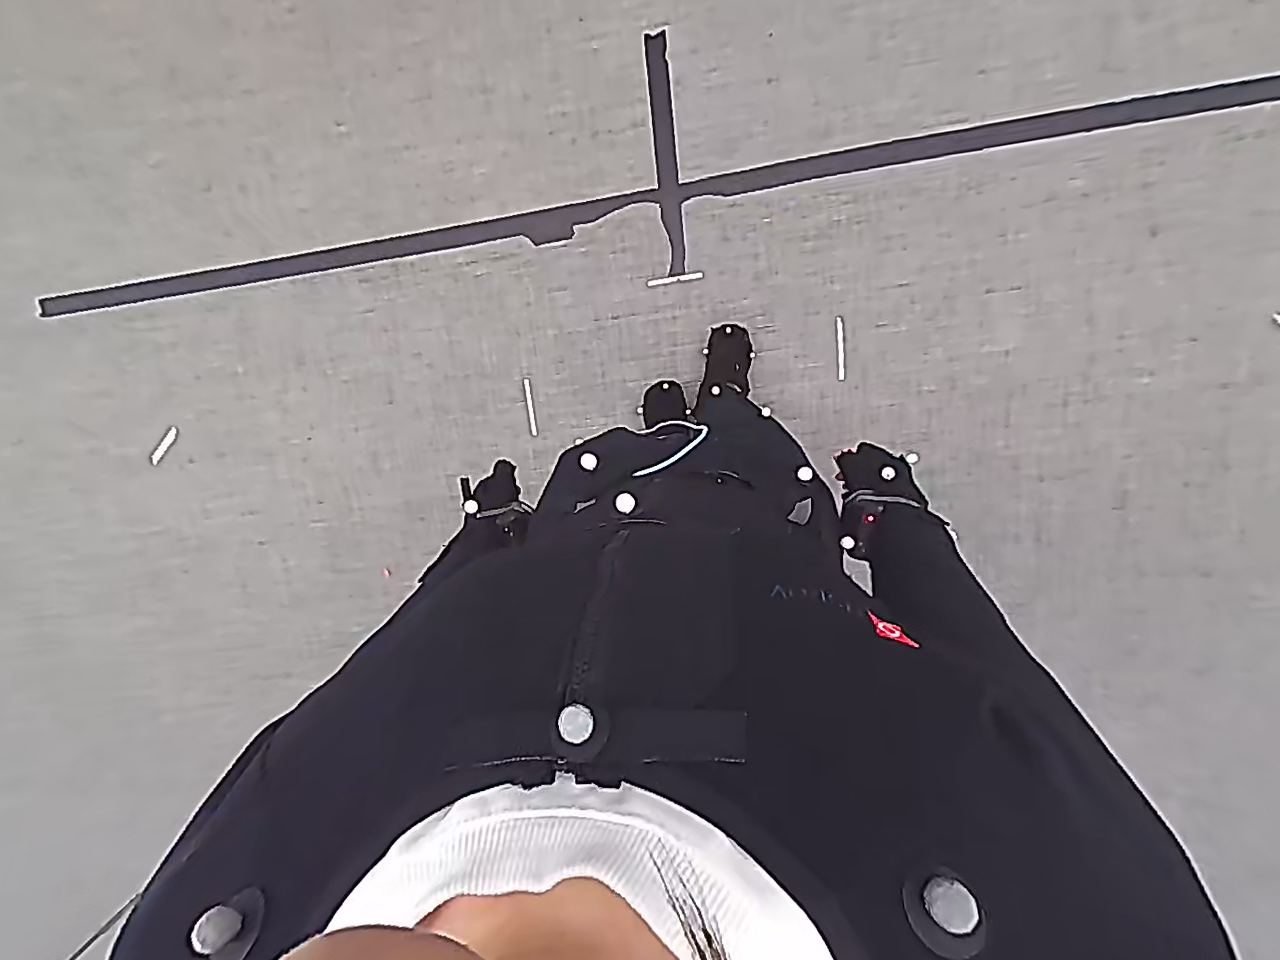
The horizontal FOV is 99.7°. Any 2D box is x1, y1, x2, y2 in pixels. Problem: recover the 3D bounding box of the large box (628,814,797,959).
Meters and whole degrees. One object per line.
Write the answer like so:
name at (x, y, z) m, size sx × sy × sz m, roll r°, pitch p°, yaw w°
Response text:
large box at (0.207, 1.231, 1.545) m, size 0.408 × 0.320 × 0.320 m, roll -13°, pitch 102°, yaw 7°
